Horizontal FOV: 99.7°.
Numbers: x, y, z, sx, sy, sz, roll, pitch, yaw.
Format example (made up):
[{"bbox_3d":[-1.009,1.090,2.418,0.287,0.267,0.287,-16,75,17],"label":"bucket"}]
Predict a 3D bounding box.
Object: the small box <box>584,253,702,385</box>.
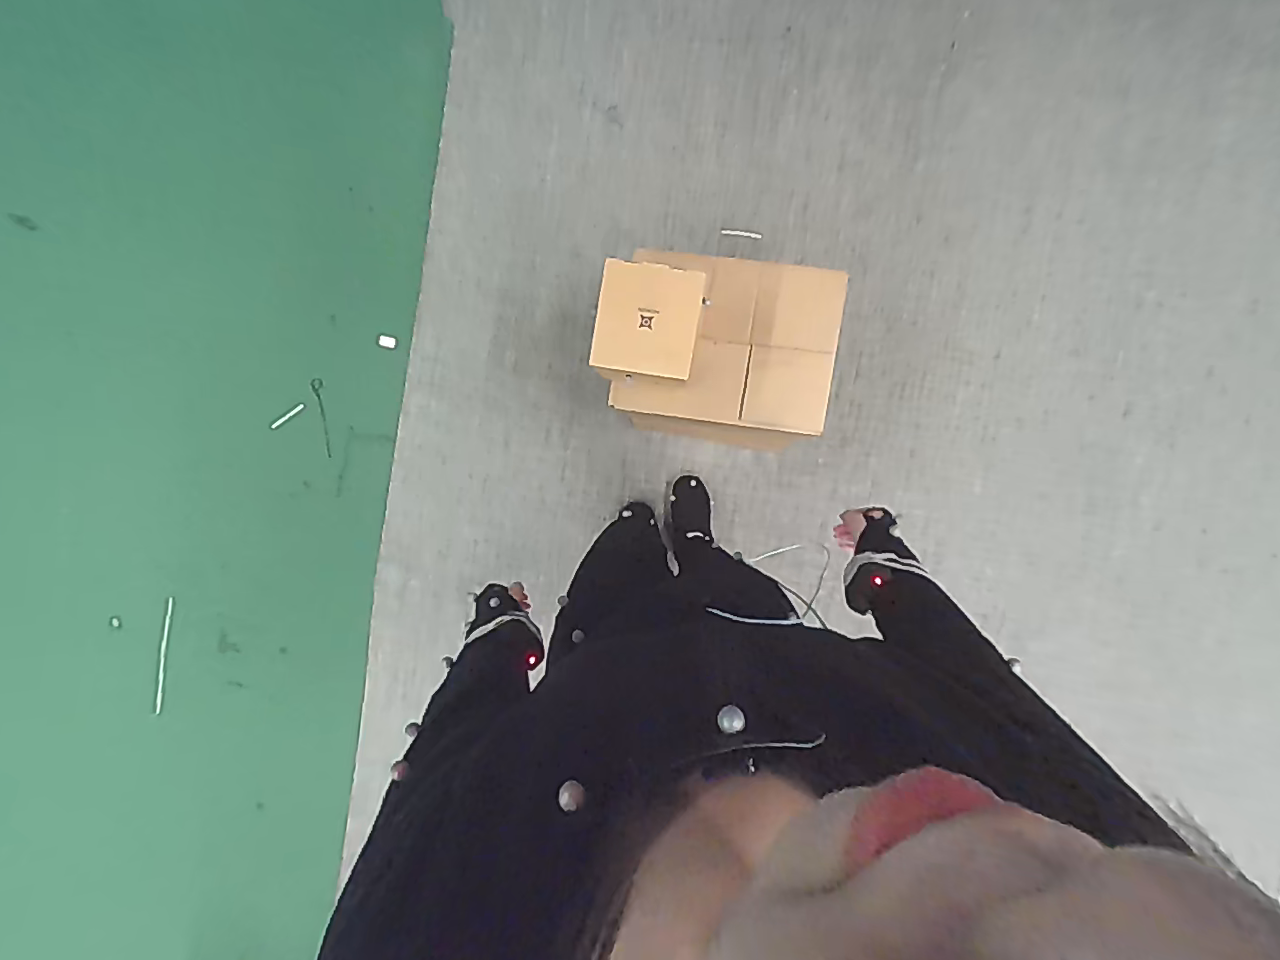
[{"bbox_3d":[0.011,-0.268,0.941,0.168,0.176,0.179,10,94,3],"label":"small box"}]
